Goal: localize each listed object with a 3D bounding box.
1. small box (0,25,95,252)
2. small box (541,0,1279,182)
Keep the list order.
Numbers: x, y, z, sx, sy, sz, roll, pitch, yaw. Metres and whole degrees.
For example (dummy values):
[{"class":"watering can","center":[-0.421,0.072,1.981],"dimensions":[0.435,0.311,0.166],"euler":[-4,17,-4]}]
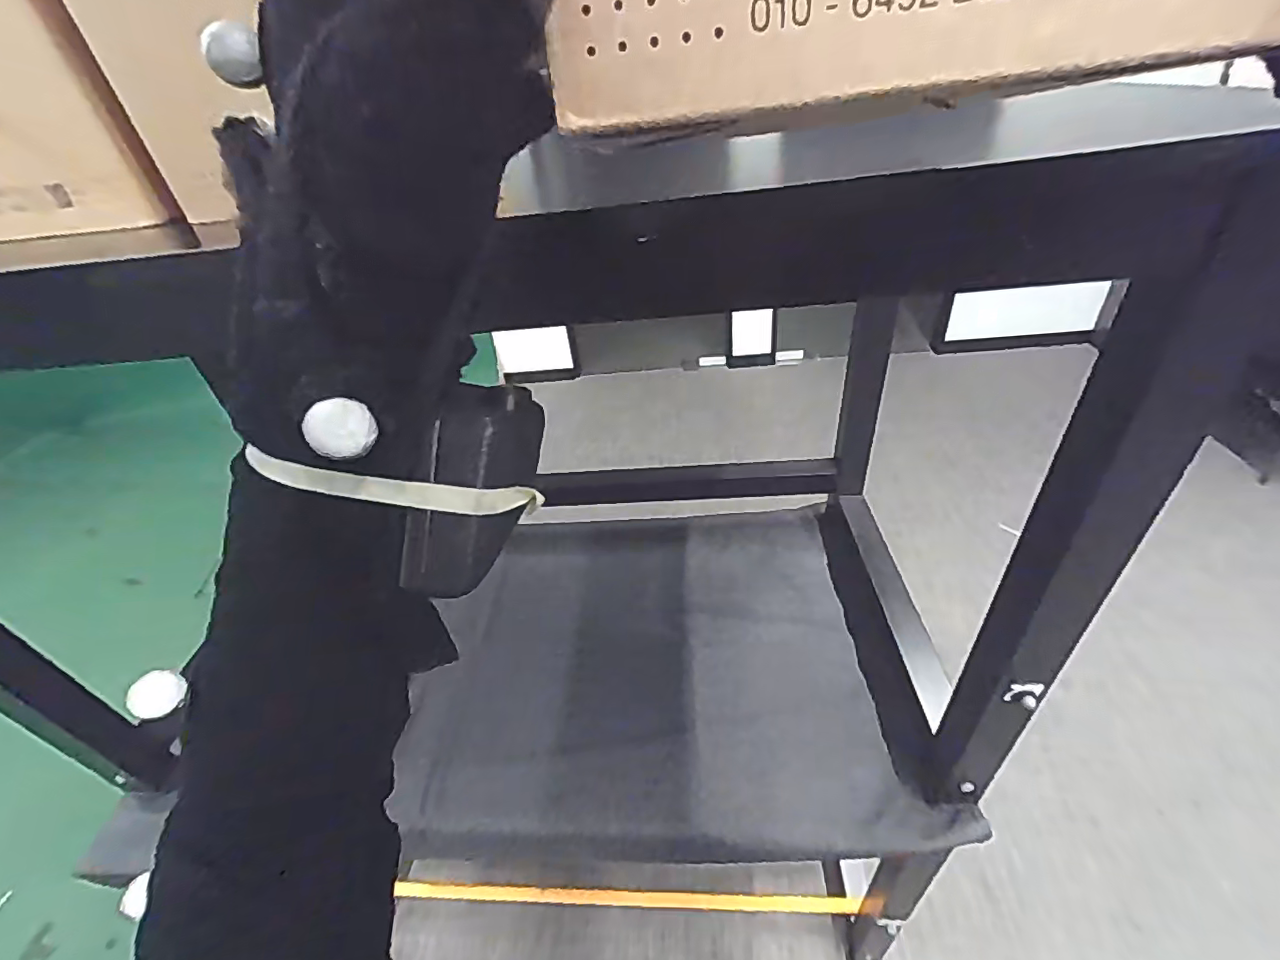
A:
[{"class":"small box","center":[-0.600,-0.264,0.421],"dimensions":[0.168,0.176,0.179],"euler":[-2,38,8]},{"class":"small box","center":[0.056,-0.187,0.147],"dimensions":[0.168,0.176,0.179],"euler":[-4,29,4]}]
